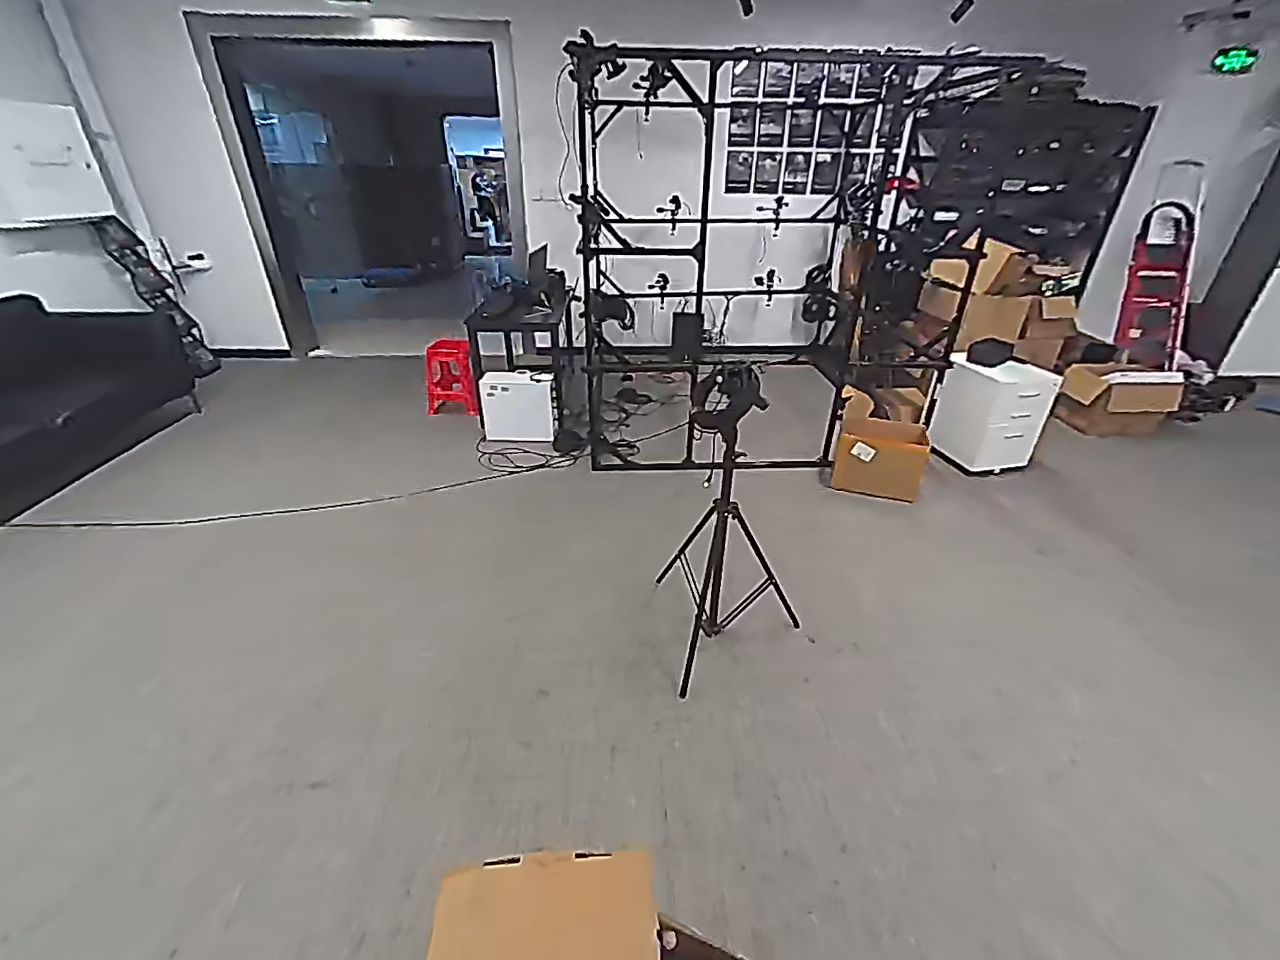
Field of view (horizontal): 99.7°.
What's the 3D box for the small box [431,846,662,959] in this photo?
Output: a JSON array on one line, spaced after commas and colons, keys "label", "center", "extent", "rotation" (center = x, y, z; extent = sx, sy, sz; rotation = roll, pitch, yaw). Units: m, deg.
[{"label": "small box", "center": [-0.064, 0.412, 0.416], "extent": [0.168, 0.176, 0.179], "rotation": [-3, 41, 0]}]
